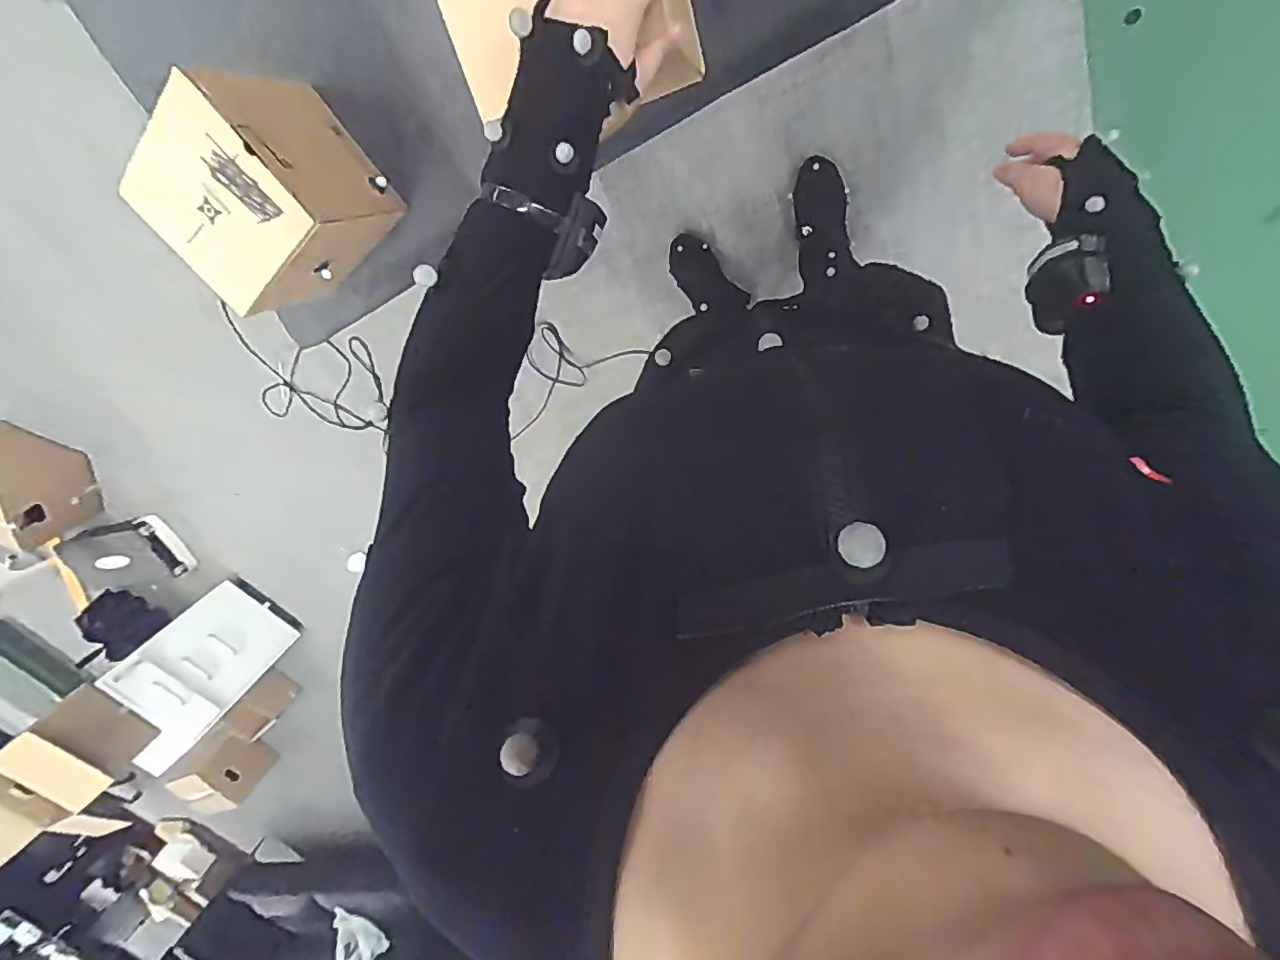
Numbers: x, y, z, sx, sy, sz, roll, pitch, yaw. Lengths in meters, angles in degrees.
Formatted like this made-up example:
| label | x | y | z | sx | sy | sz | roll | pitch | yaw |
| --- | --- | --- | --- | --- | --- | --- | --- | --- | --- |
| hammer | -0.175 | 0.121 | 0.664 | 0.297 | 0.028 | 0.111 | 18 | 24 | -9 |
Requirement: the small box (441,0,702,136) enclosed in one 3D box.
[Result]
| label | x | y | z | sx | sy | sz | roll | pitch | yaw |
| --- | --- | --- | --- | --- | --- | --- | --- | --- | --- |
| small box | -0.057 | -0.423 | 0.474 | 0.179 | 0.176 | 0.168 | -10 | 116 | 20 |

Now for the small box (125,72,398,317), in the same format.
| label | x | y | z | sx | sy | sz | roll | pitch | yaw |
| --- | --- | --- | --- | --- | --- | --- | --- | --- | --- |
| small box | -0.418 | -0.325 | 0.627 | 0.179 | 0.176 | 0.168 | -28 | 111 | 28 |
